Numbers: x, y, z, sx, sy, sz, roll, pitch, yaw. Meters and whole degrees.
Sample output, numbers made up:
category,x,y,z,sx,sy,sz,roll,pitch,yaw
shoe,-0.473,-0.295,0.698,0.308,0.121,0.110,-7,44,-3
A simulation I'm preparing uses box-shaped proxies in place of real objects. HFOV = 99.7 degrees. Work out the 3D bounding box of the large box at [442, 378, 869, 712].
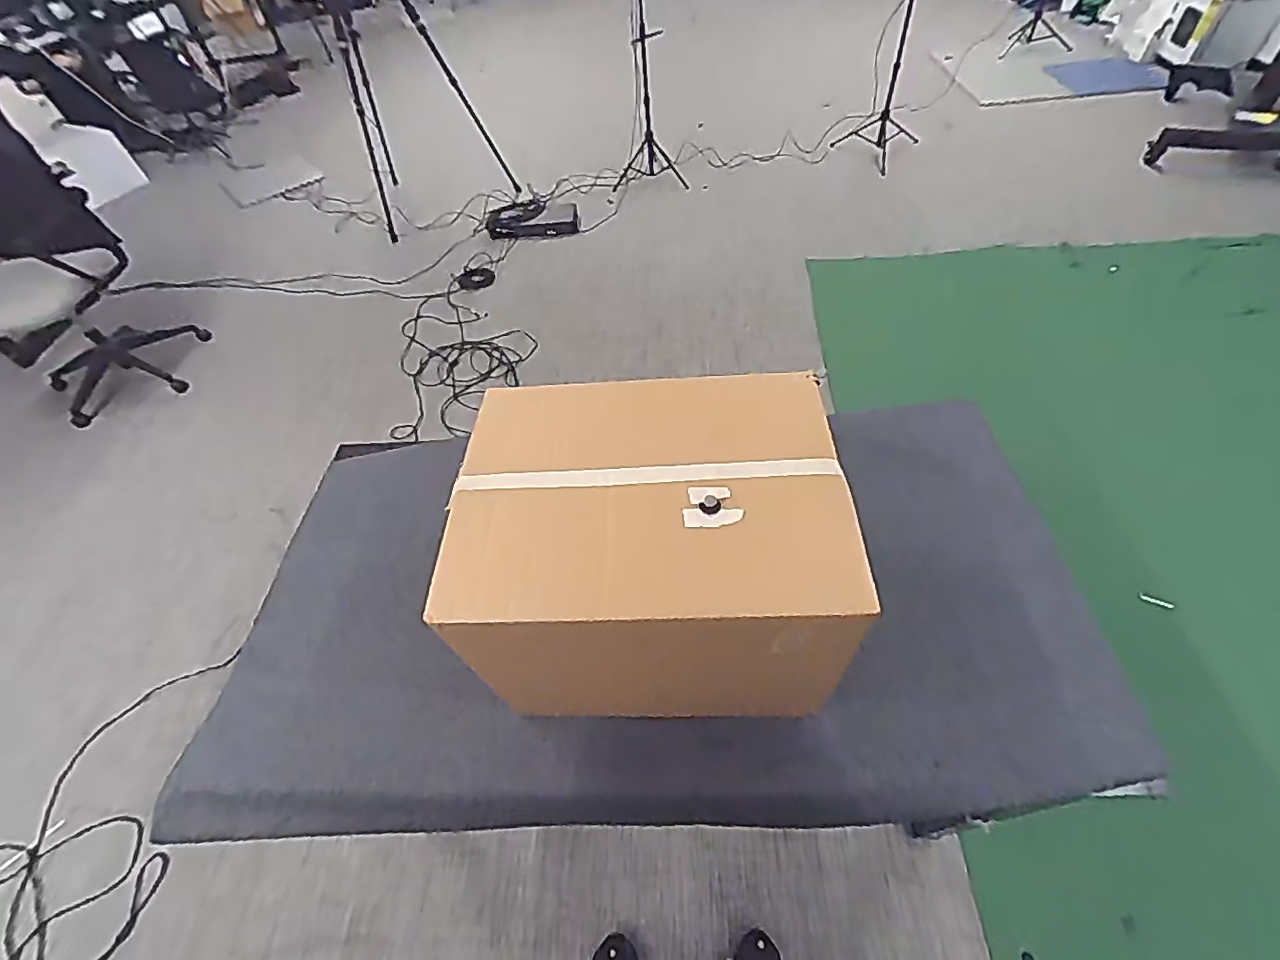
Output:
category,x,y,z,sx,sy,sz,roll,pitch,yaw
large box,0.020,0.095,0.701,0.408,0.320,0.320,-2,53,4
